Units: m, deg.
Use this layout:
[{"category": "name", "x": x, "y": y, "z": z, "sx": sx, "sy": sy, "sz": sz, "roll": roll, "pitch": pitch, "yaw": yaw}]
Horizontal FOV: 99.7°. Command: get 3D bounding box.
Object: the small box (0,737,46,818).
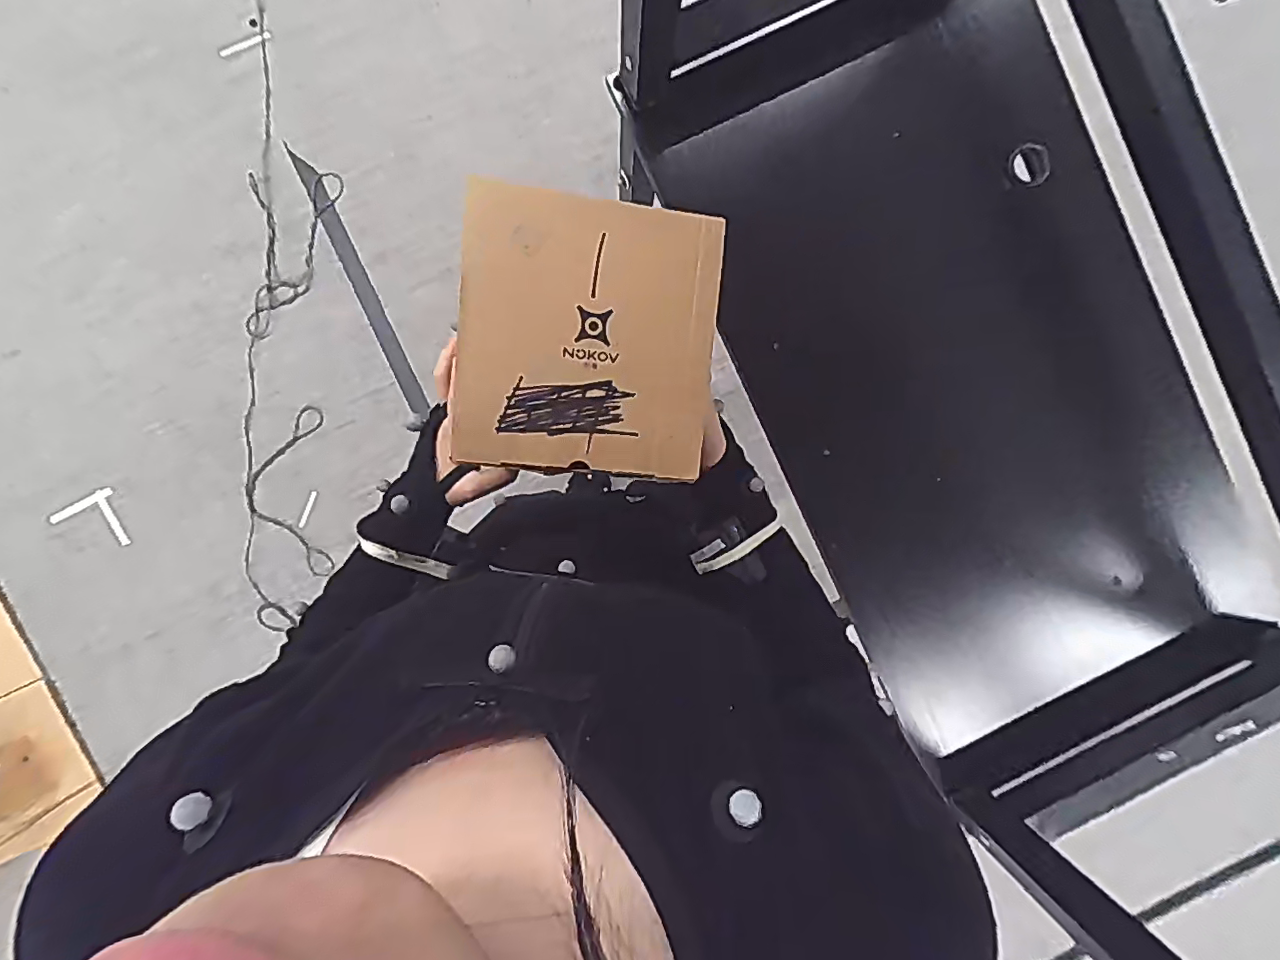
[{"category": "small box", "x": -1.660, "y": 0.780, "z": 1.345, "sx": 0.179, "sy": 0.176, "sz": 0.168, "roll": -28, "pitch": 93, "yaw": -1}]
